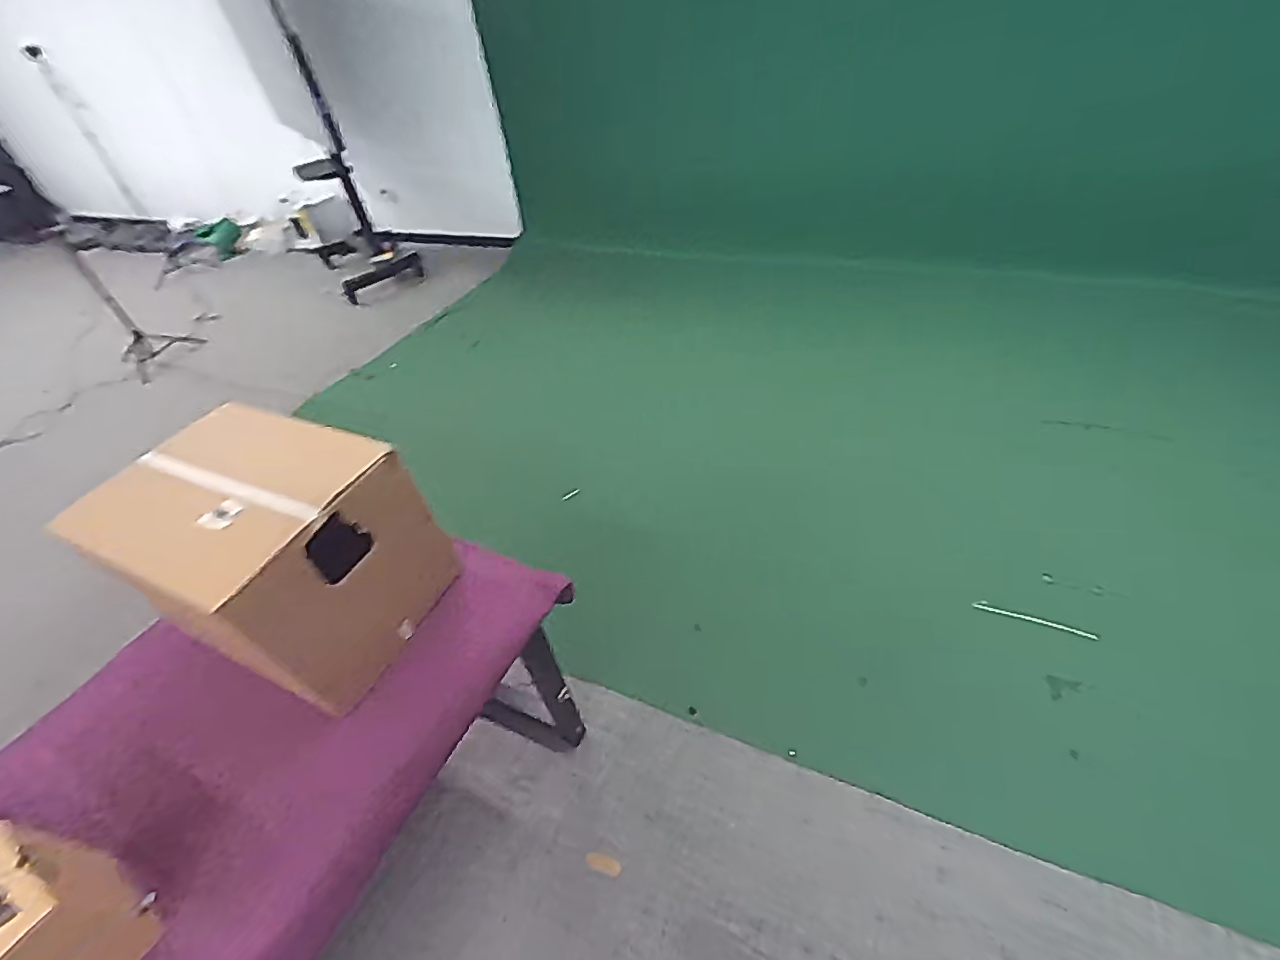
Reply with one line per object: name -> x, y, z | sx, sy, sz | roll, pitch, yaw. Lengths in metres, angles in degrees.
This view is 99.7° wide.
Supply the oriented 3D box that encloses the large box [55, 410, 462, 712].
large box -> -0.589, 0.121, 0.905 | 0.408, 0.320, 0.320 | 14, 49, 21
